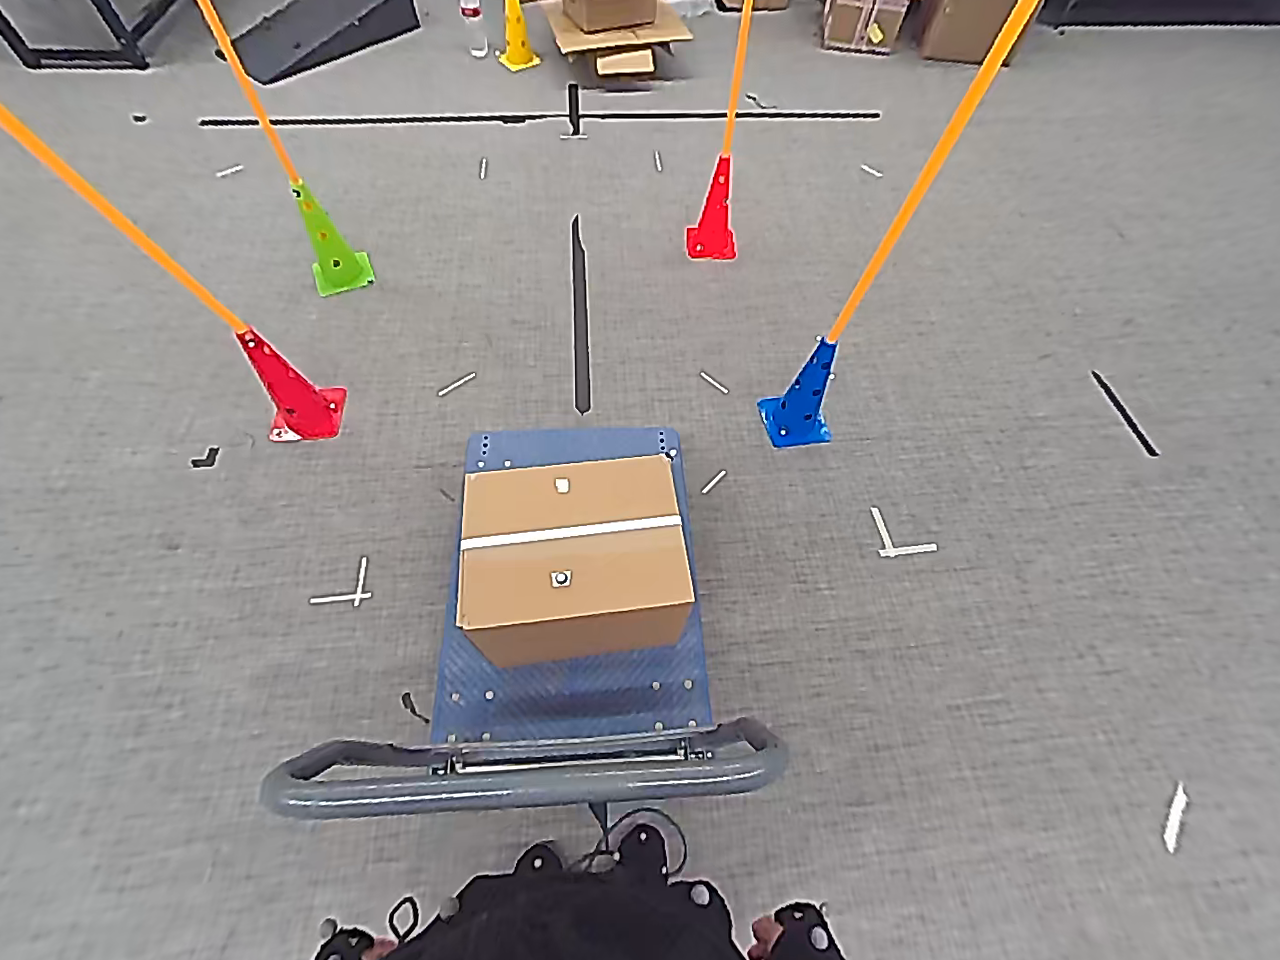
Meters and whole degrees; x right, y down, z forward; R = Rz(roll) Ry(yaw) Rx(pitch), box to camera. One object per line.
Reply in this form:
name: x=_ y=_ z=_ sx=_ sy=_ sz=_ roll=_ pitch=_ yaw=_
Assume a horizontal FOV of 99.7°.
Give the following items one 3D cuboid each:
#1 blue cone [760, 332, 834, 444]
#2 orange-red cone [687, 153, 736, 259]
blue cone: x=0.509 y=-0.287 z=1.631 sx=0.193 sy=0.380 sz=0.192 roll=-7 pitch=59 yaw=-7
orange-red cone: x=0.301 y=-1.059 z=2.067 sx=0.199 sy=0.360 sz=0.198 roll=3 pitch=60 yaw=-2
